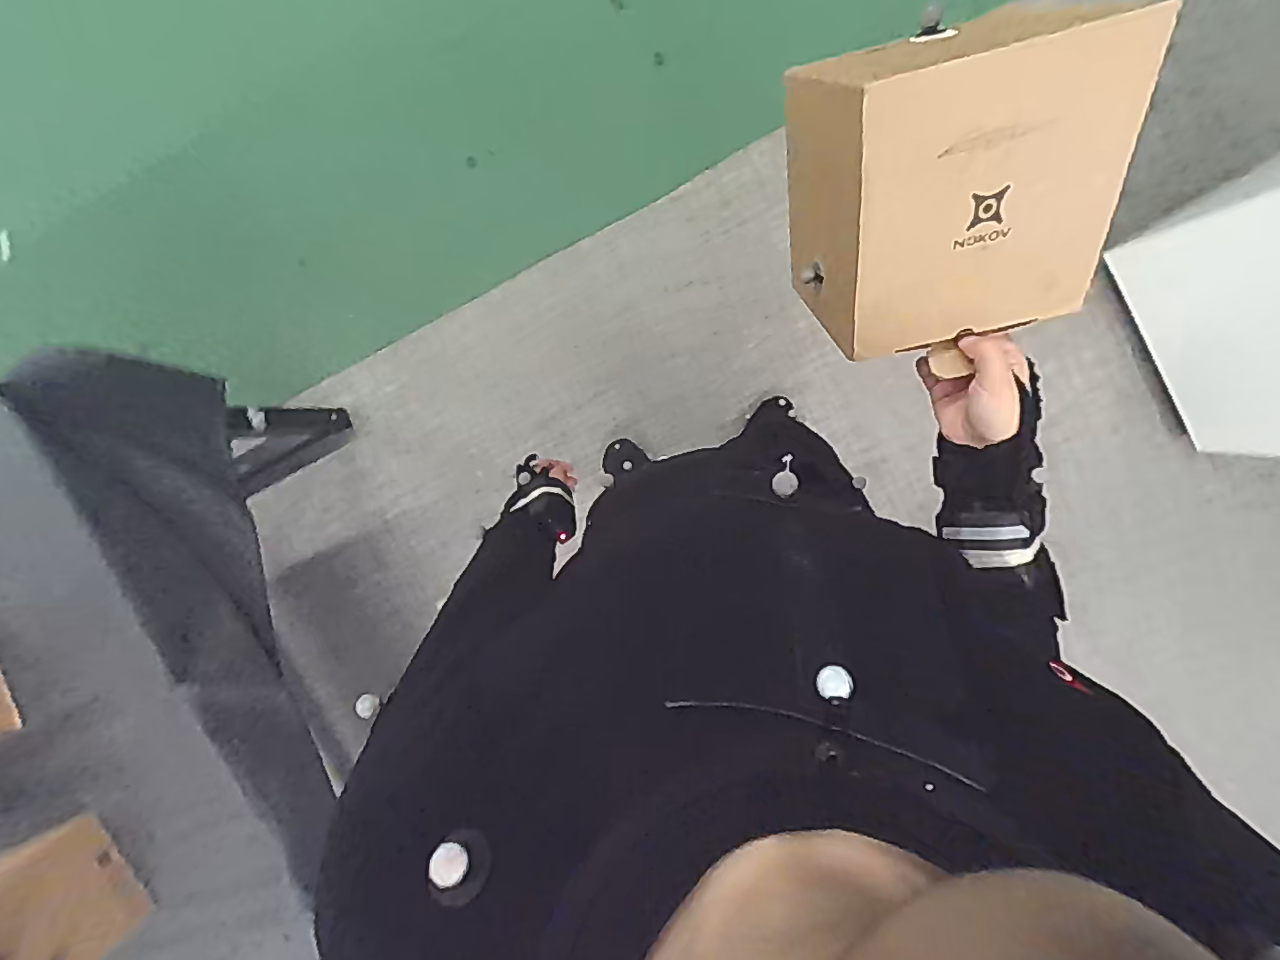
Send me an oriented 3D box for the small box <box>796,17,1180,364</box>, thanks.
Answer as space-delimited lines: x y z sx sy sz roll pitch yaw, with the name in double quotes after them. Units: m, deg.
0.222 -0.216 0.408 0.168 0.176 0.179 -12 128 5 "small box"
